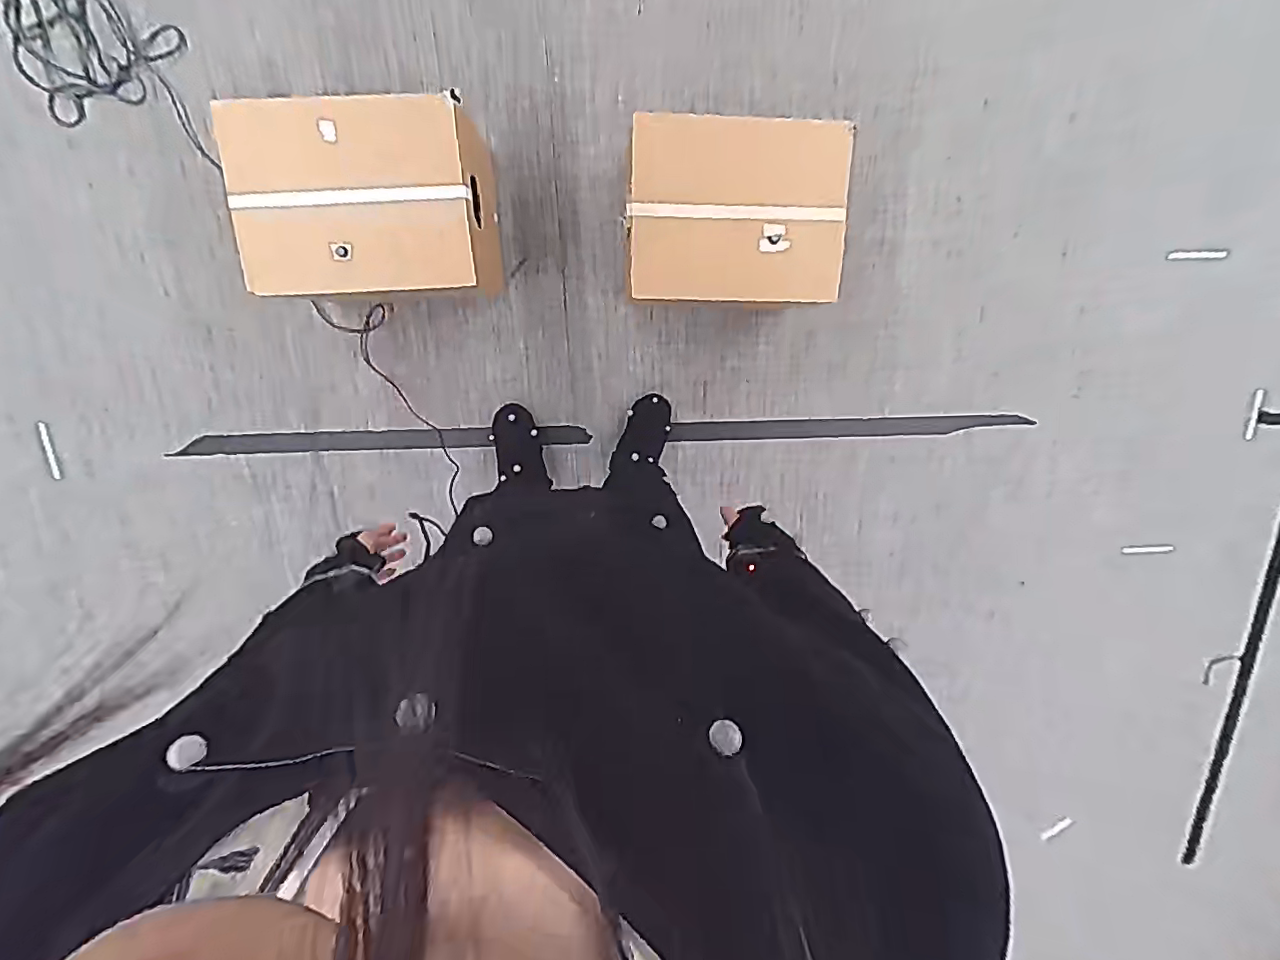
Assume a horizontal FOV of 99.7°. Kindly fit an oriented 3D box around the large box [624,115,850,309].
[{"bbox_3d":[0.174,-0.536,1.152,0.408,0.320,0.320,0,105,-5],"label":"large box"}]
